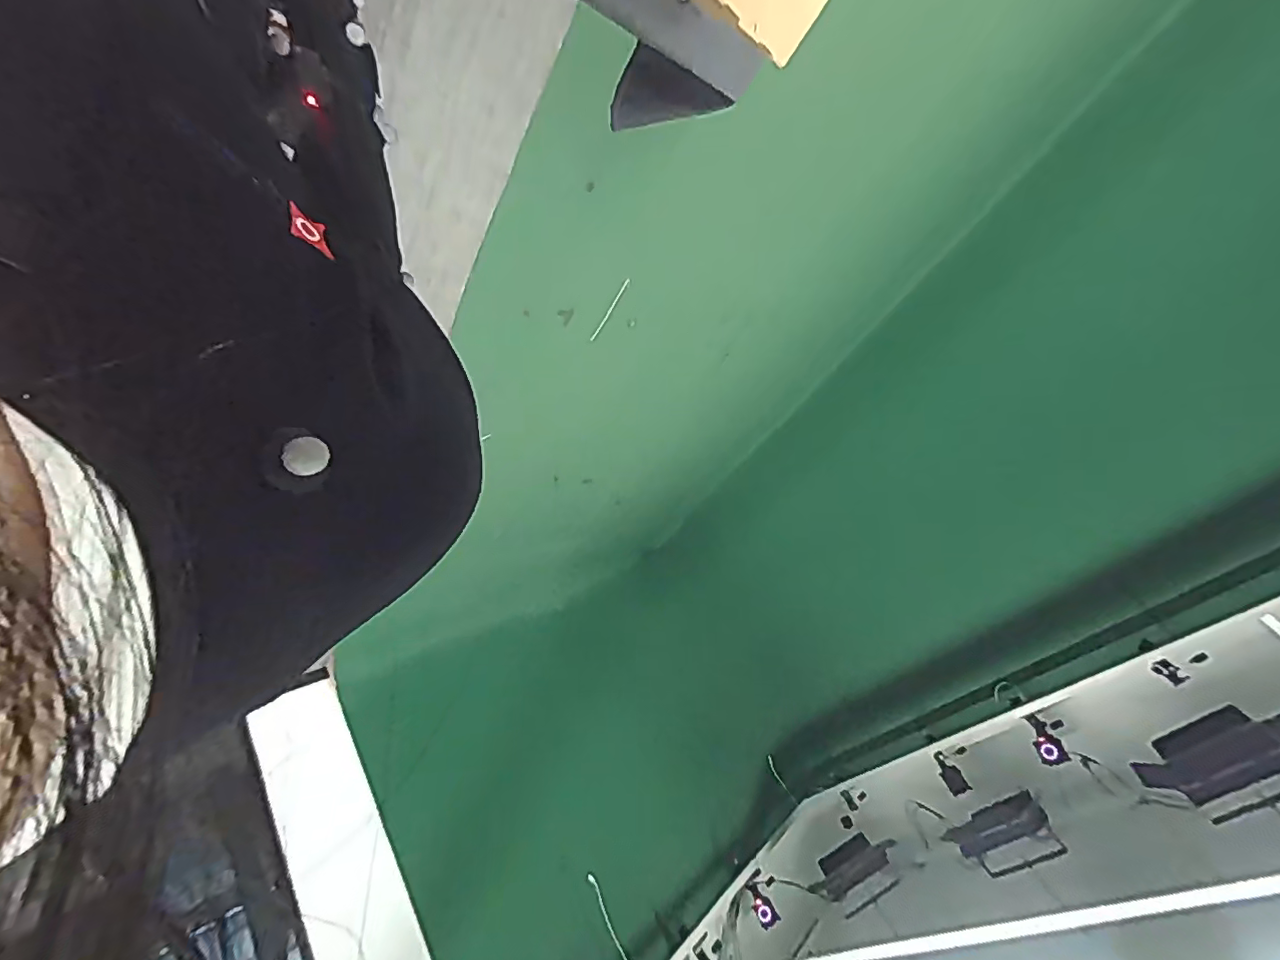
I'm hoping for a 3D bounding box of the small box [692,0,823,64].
[{"bbox_3d":[0.123,-0.620,0.587,0.168,0.176,0.179,-8,145,-49],"label":"small box"}]
